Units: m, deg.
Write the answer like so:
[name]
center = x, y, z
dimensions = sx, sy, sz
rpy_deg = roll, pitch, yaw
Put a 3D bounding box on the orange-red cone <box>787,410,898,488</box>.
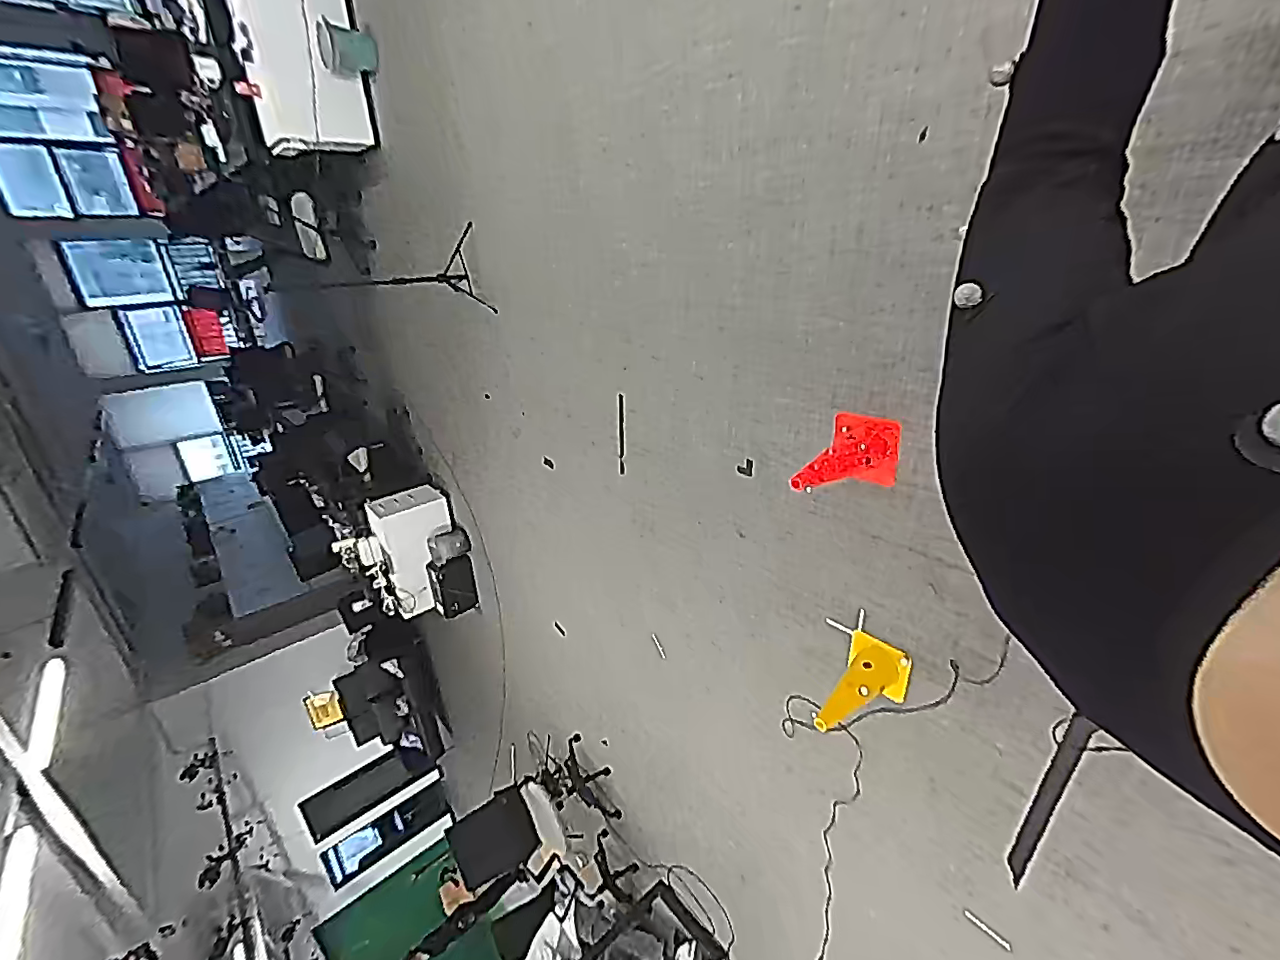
[orange-red cone]
center = 0.535, -0.047, 1.510
dimensions = 0.198, 0.360, 0.199
rpy_deg = 23, 126, 46
